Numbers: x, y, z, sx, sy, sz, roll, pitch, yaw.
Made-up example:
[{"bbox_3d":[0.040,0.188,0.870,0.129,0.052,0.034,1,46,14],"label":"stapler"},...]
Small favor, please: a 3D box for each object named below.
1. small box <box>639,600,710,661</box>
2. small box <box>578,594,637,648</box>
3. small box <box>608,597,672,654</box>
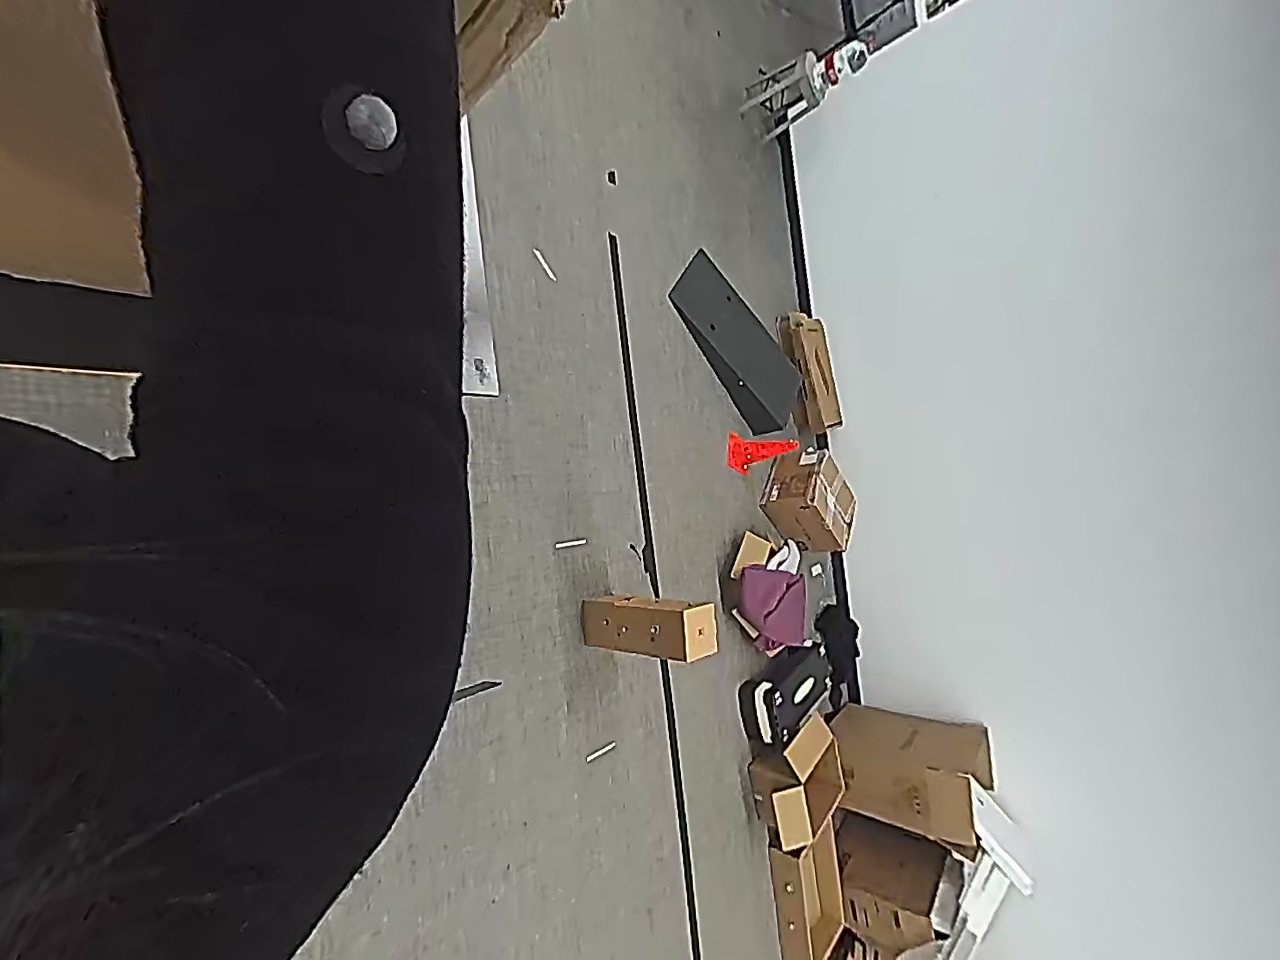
[{"bbox_3d":[0.117,0.507,1.840,0.179,0.176,0.168,1,83,-48],"label":"small box"},{"bbox_3d":[-0.122,0.531,2.062,0.168,0.176,0.179,2,84,-48],"label":"small box"},{"bbox_3d":[0.005,0.522,1.958,0.179,0.176,0.168,1,83,-48],"label":"small box"}]
